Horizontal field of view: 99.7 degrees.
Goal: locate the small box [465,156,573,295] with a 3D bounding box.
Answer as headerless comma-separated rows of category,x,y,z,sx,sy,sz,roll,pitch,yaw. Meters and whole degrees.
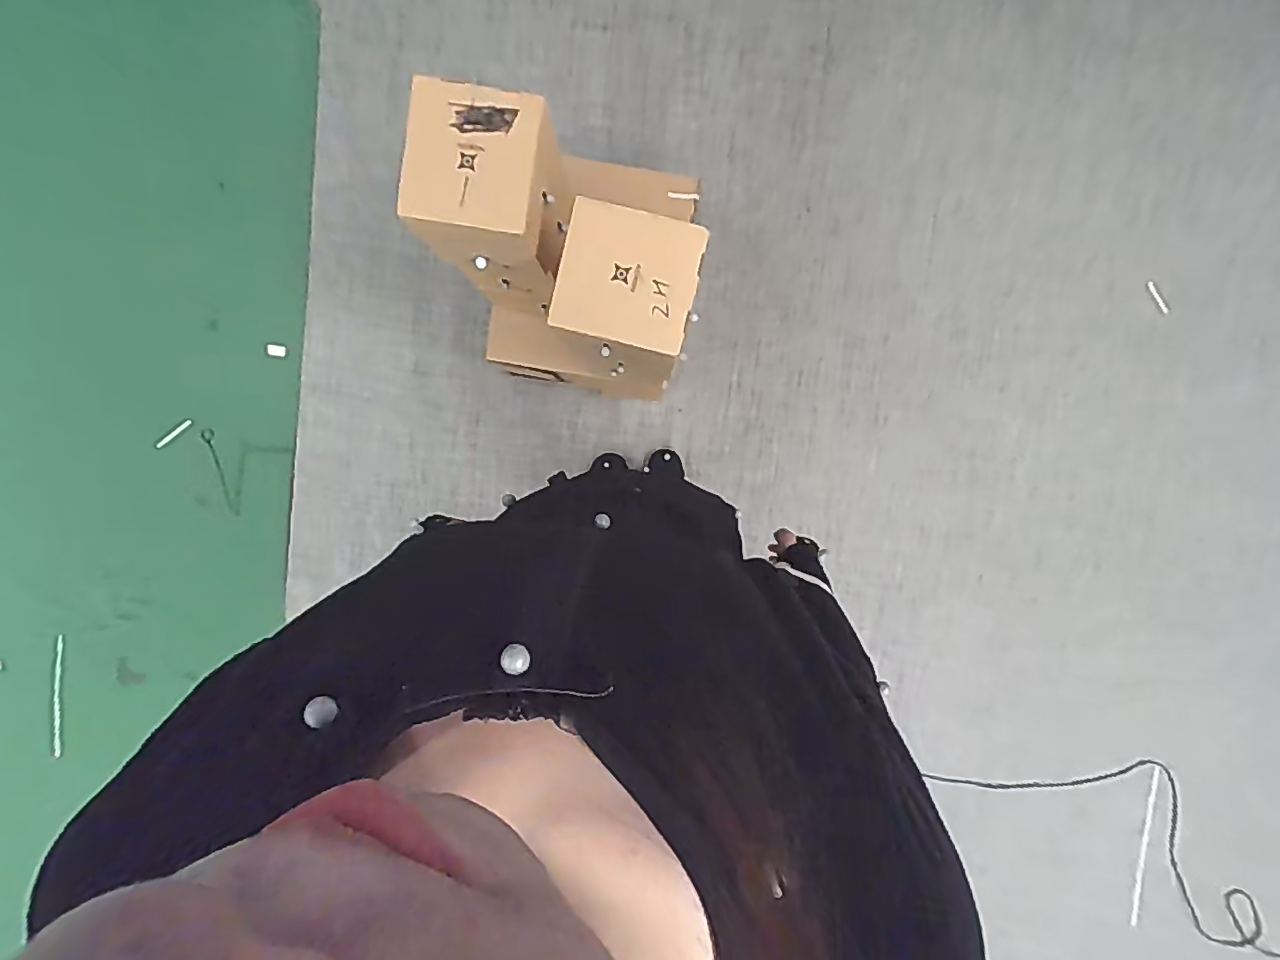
small box,-0.210,-0.434,0.920,0.168,0.176,0.179,9,94,0

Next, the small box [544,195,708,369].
small box,-0.017,-0.262,0.758,0.179,0.176,0.168,14,94,-1

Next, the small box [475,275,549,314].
small box,-0.214,-0.439,1.084,0.168,0.176,0.179,9,92,0

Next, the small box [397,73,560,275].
small box,-0.213,-0.413,0.758,0.168,0.176,0.179,10,93,0

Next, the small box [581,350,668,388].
small box,-0.016,-0.296,1.087,0.168,0.176,0.179,11,92,0
